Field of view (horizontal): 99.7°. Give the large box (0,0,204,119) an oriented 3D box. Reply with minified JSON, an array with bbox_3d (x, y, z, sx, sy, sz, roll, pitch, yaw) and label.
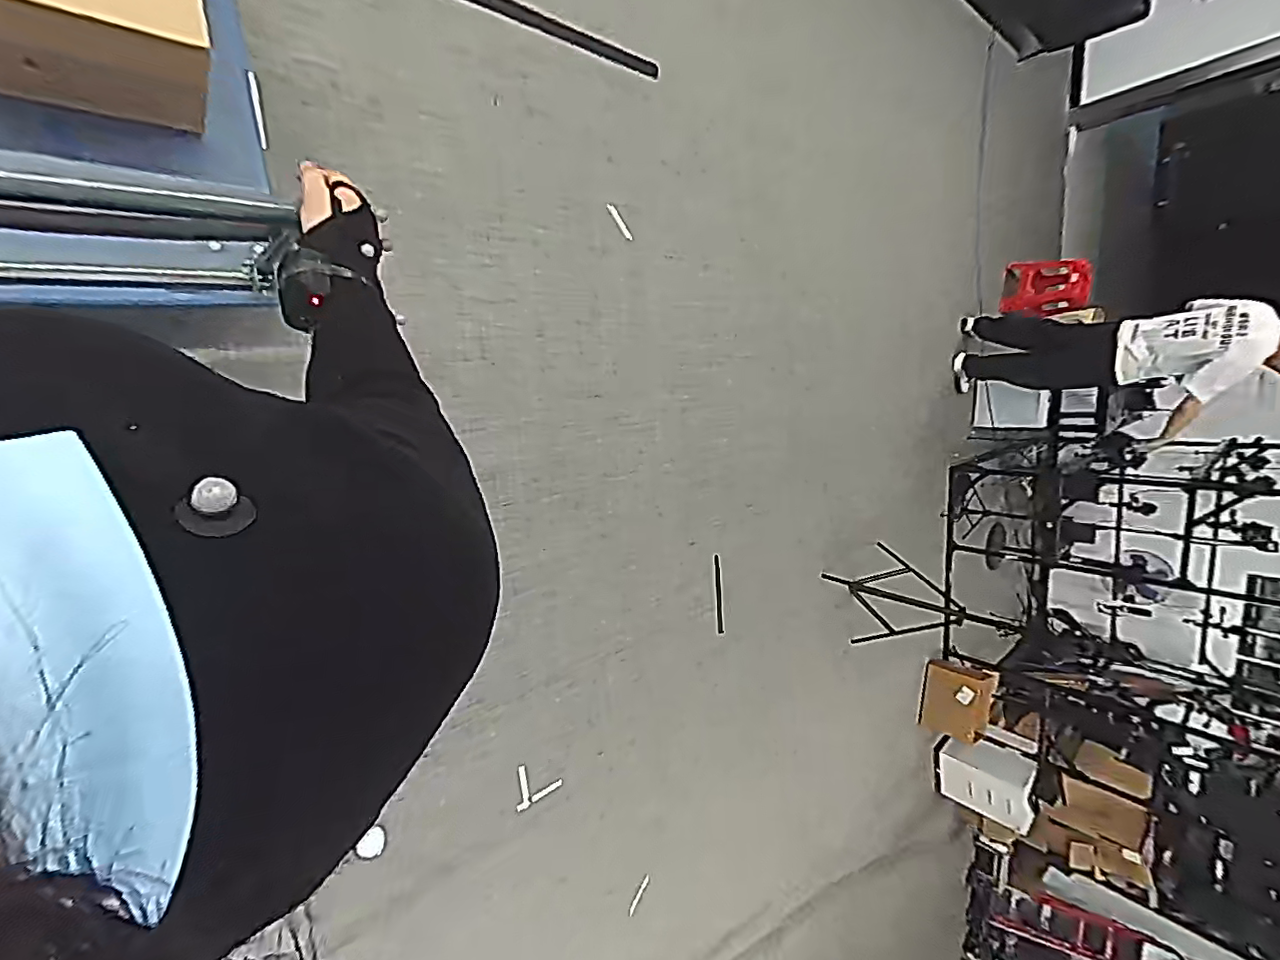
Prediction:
[{"bbox_3d":[-0.886,-0.763,0.742,0.408,0.320,0.320,-12,102,-39],"label":"large box"}]
